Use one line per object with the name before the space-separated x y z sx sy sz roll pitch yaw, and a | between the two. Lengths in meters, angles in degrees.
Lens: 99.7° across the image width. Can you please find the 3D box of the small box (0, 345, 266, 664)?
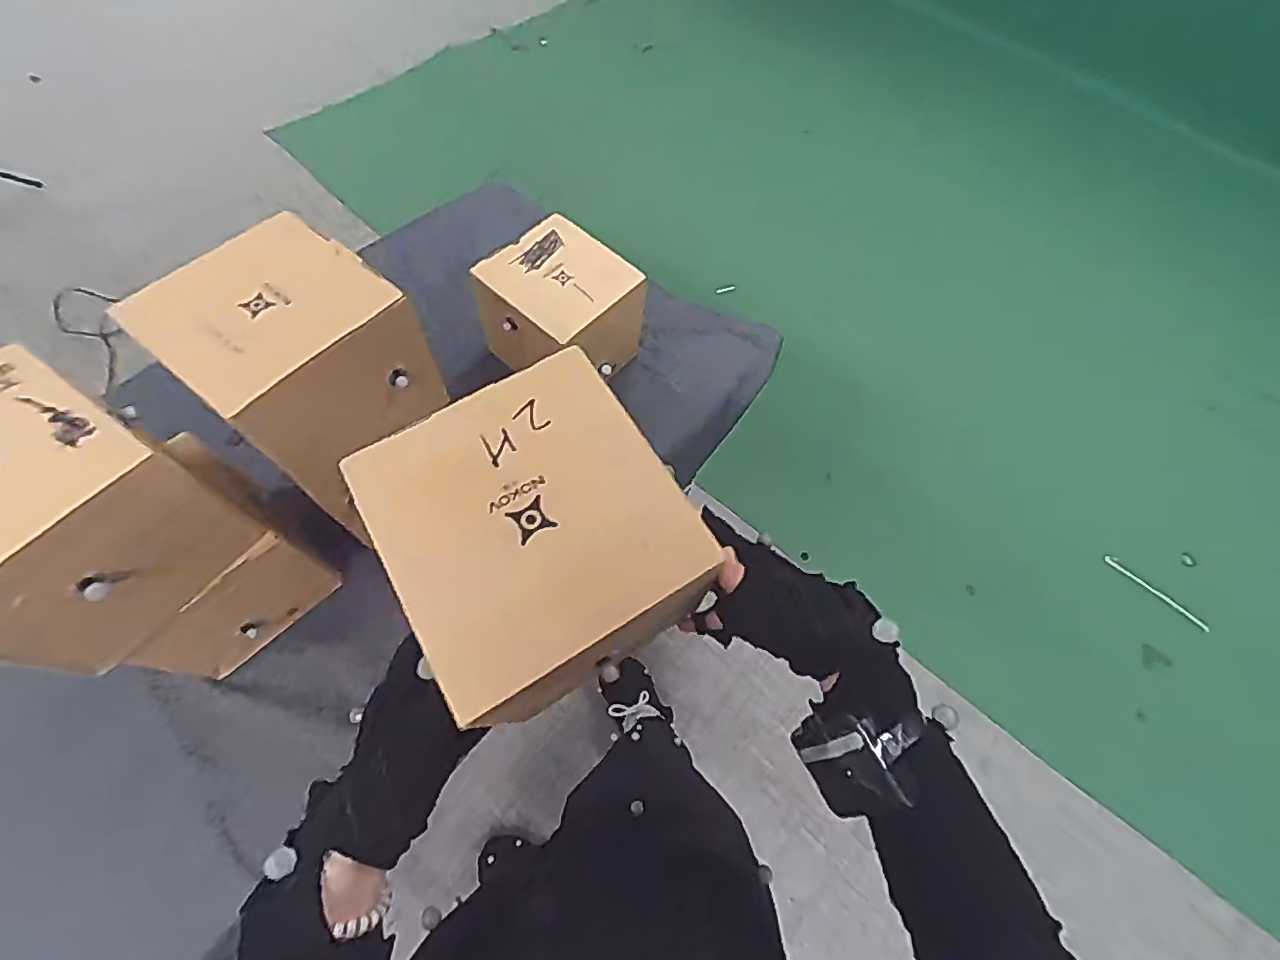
small box | -0.474 0.032 0.453 0.168 0.176 0.179 35 67 10
